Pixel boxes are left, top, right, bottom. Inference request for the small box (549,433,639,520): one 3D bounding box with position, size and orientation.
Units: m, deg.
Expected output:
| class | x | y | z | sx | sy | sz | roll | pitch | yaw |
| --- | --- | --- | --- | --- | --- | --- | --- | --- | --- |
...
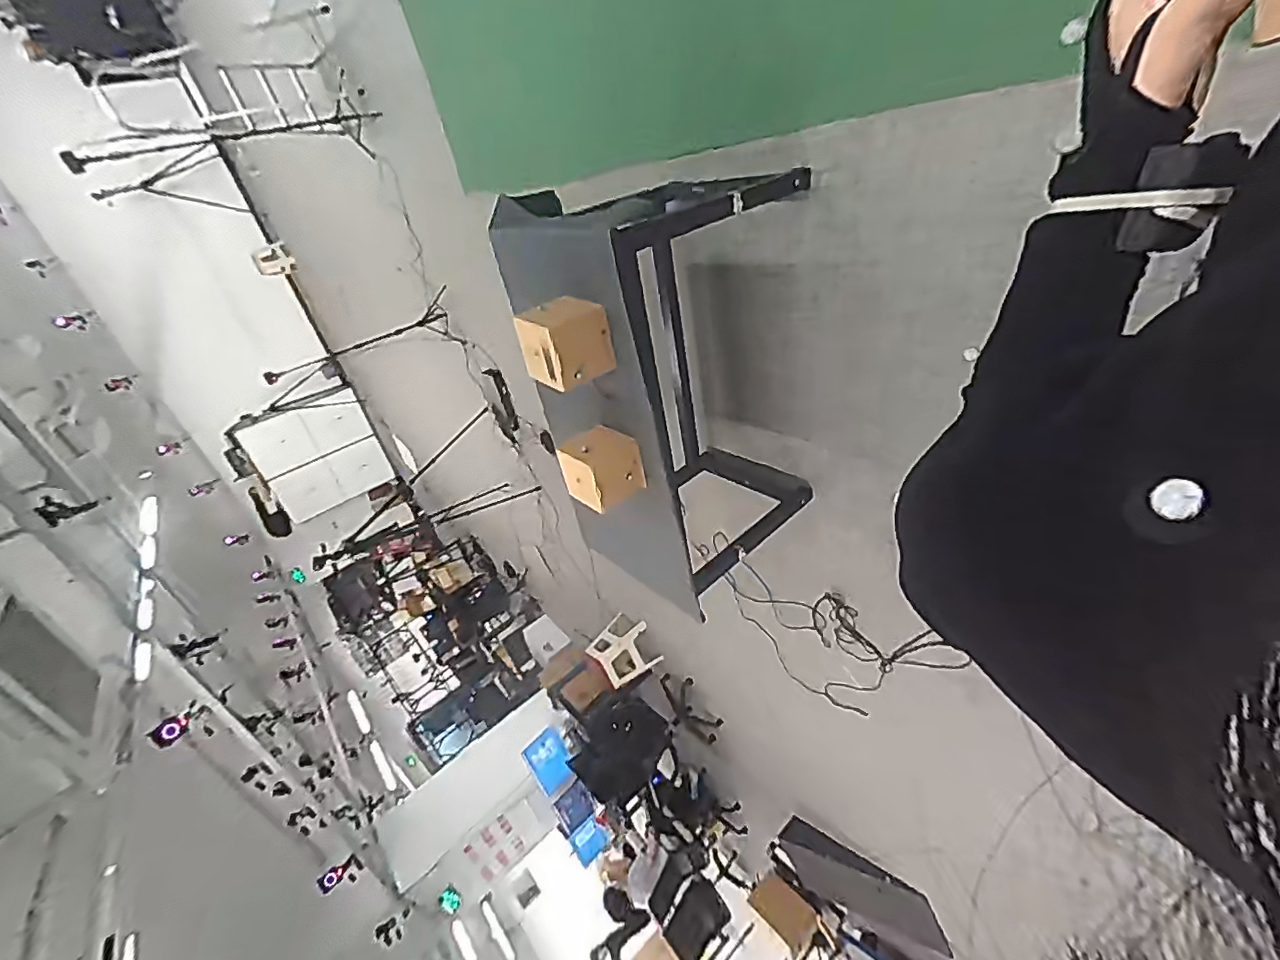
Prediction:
| class | x | y | z | sx | sy | sz | roll | pitch | yaw |
| --- | --- | --- | --- | --- | --- | --- | --- | --- | --- |
| small box | -0.129 | -0.018 | 1.551 | 0.179 | 0.176 | 0.168 | 24 | 137 | 43 |
